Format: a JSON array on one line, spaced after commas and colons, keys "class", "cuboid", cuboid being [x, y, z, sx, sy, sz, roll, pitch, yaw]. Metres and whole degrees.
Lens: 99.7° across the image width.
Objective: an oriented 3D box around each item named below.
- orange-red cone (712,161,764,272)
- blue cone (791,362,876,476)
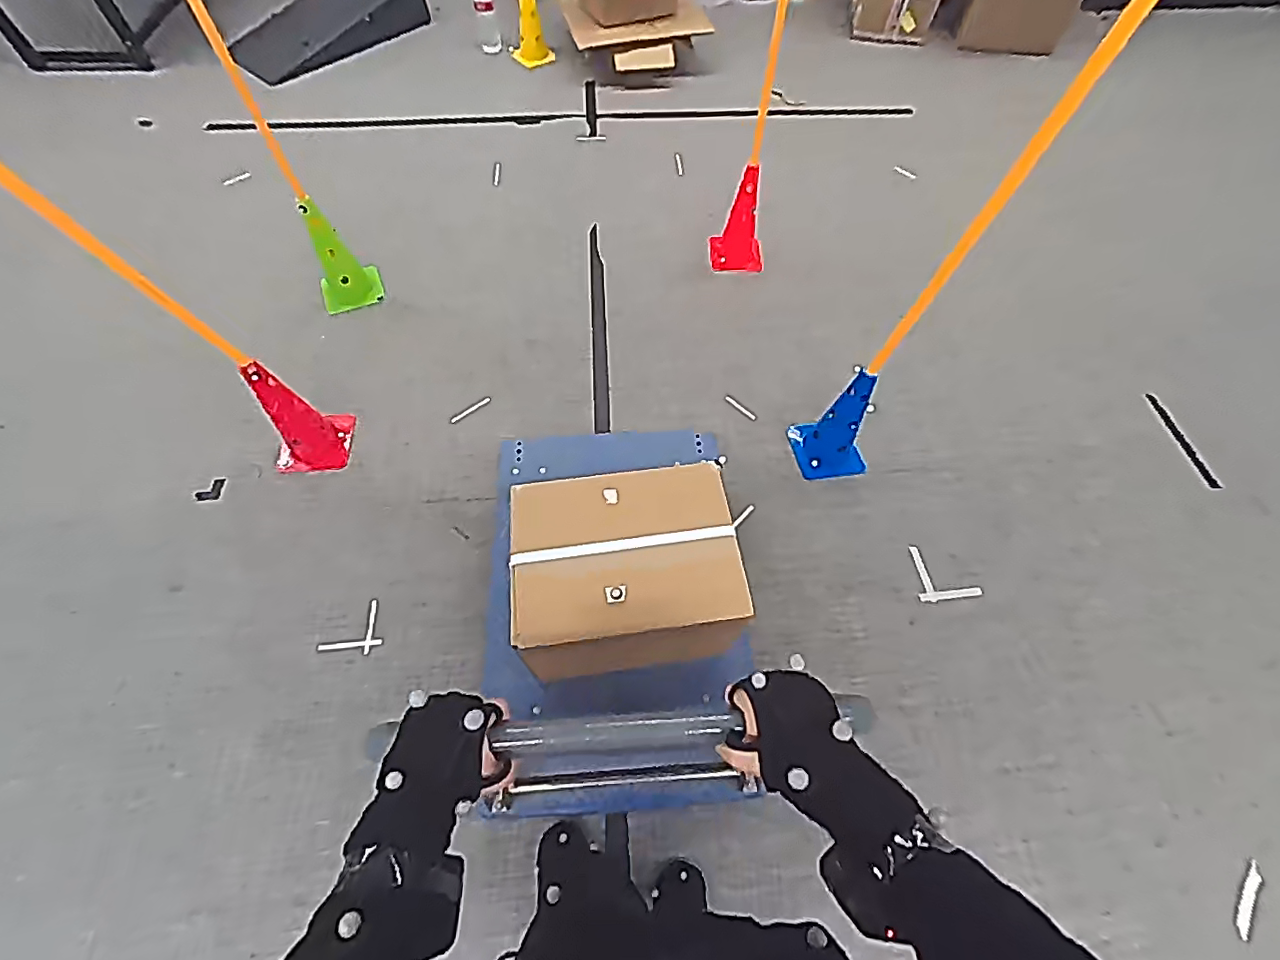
[{"class": "orange-red cone", "cuboid": [0.386, -0.964, 1.950, 0.199, 0.360, 0.198, 3, 61, -1]}, {"class": "blue cone", "cuboid": [0.579, -0.182, 1.524, 0.193, 0.380, 0.192, -6, 59, -6]}]
